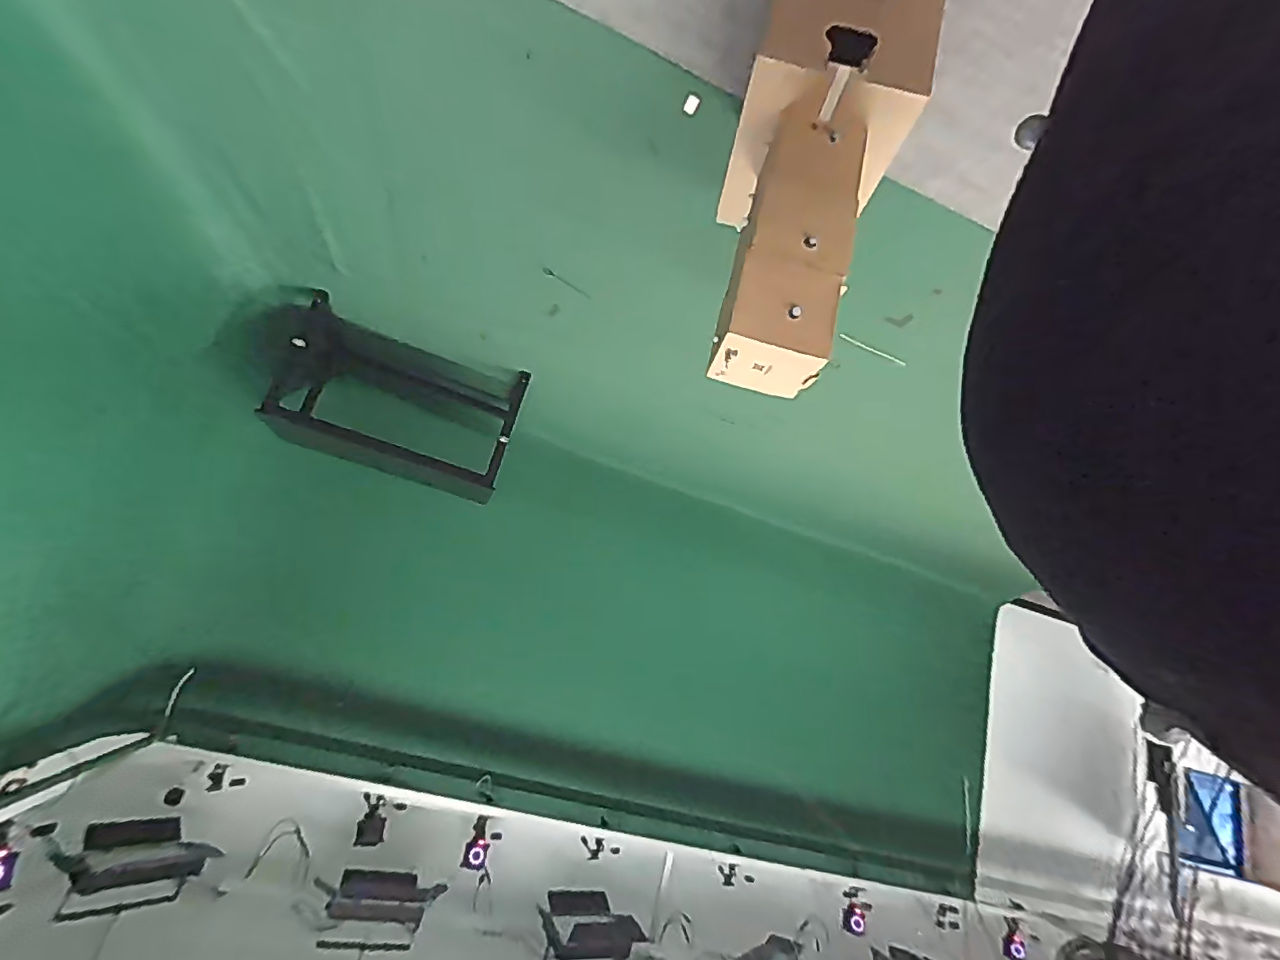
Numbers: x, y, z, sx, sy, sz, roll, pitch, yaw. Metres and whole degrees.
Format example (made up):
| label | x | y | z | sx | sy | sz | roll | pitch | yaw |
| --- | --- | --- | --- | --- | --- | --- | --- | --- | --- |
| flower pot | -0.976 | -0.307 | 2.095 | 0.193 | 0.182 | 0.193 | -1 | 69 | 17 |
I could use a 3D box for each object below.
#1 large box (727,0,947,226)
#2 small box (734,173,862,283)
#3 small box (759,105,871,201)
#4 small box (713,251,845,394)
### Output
| label | x | y | z | sx | sy | sz | roll | pitch | yaw |
| --- | --- | --- | --- | --- | --- | --- | --- | --- | --- |
| large box | 0.397 | -0.799 | 1.156 | 0.320 | 0.320 | 0.408 | 16 | 165 | 3 |
| small box | 0.291 | -0.432 | 1.008 | 0.179 | 0.176 | 0.168 | 15 | 164 | -3 |
| small box | 0.335 | -0.580 | 1.063 | 0.168 | 0.176 | 0.179 | 14 | 164 | -1 |
| small box | 0.247 | -0.279 | 0.967 | 0.179 | 0.176 | 0.168 | 14 | 164 | -2 |
